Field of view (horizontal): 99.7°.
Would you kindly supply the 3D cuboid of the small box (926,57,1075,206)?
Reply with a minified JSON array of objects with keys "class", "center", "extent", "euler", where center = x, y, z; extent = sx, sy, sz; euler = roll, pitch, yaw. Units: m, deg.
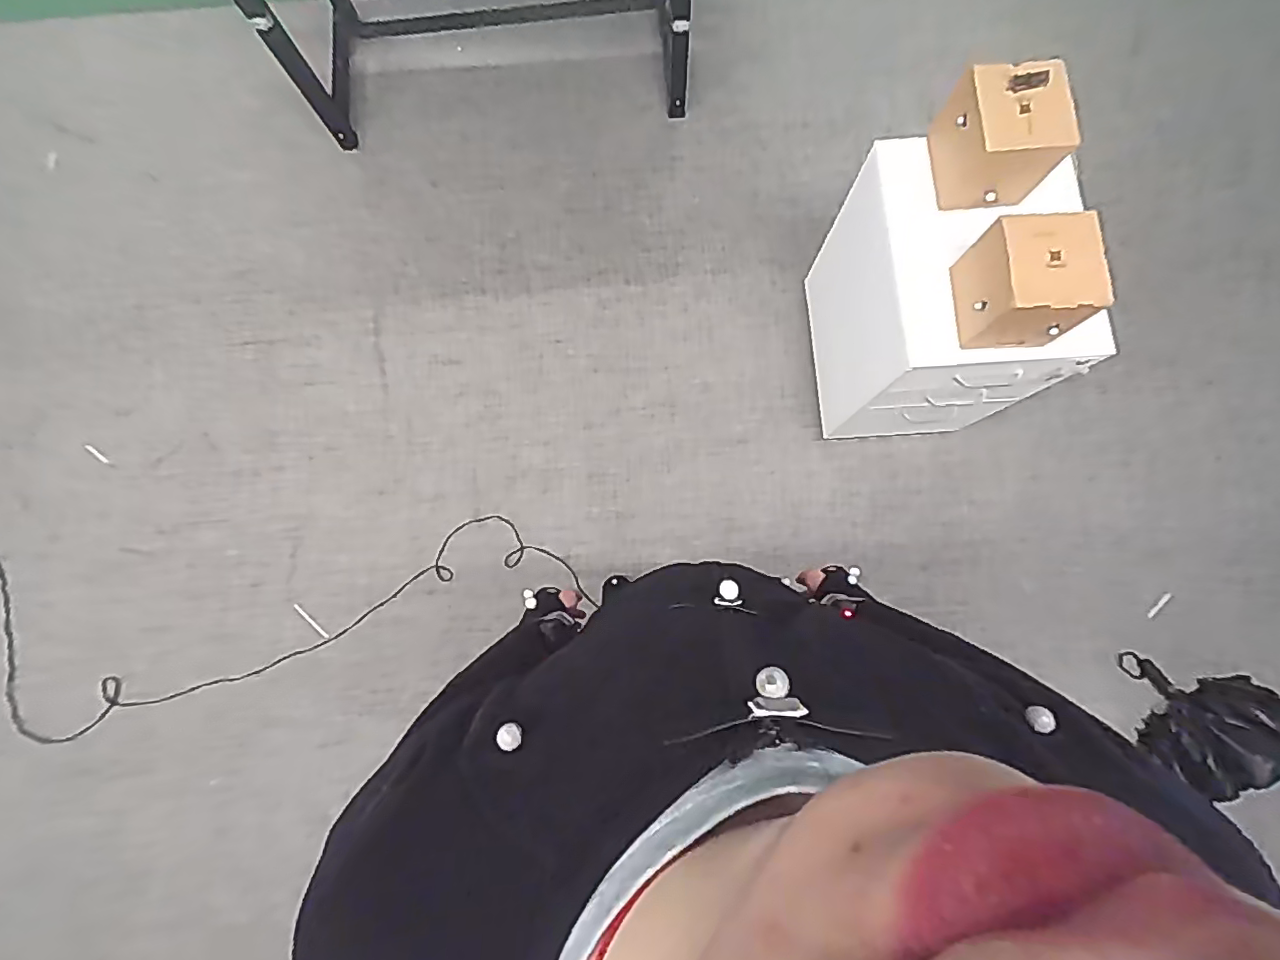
[{"class":"small box","center":[0.675,-0.659,1.036],"extent":[0.168,0.176,0.179],"euler":[-4,83,0]}]

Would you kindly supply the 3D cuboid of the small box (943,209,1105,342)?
[{"class":"small box","center":[0.690,-0.363,0.992],"extent":[0.168,0.176,0.179],"euler":[-2,79,-1]}]
